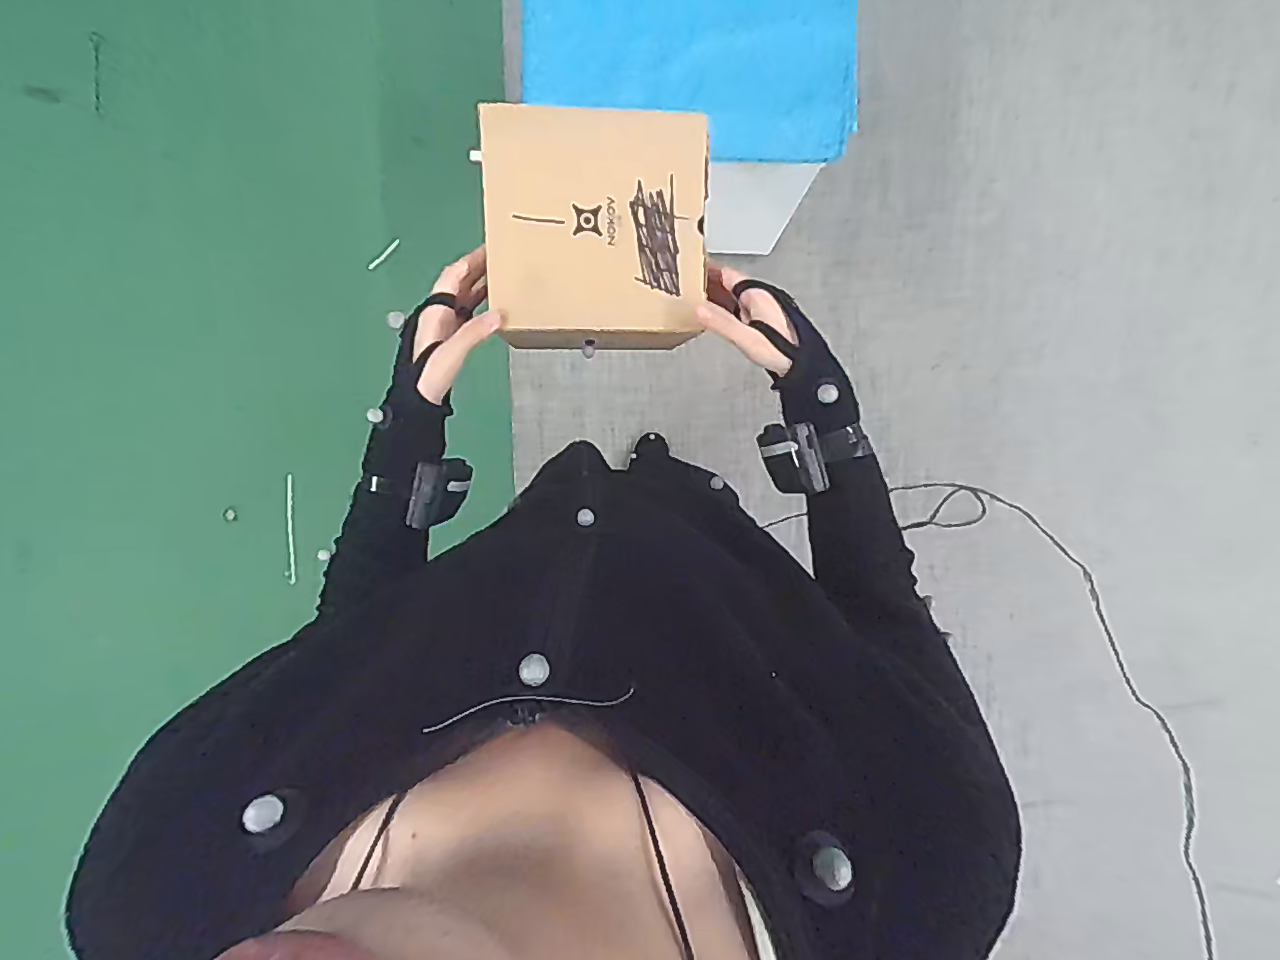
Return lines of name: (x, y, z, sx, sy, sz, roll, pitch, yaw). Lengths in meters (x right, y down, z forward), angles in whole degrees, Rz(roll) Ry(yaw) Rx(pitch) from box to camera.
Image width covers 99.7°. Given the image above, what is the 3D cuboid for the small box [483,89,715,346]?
small box: (-0.038, -0.216, 0.492, 0.179, 0.176, 0.168, -1, 98, -6)
